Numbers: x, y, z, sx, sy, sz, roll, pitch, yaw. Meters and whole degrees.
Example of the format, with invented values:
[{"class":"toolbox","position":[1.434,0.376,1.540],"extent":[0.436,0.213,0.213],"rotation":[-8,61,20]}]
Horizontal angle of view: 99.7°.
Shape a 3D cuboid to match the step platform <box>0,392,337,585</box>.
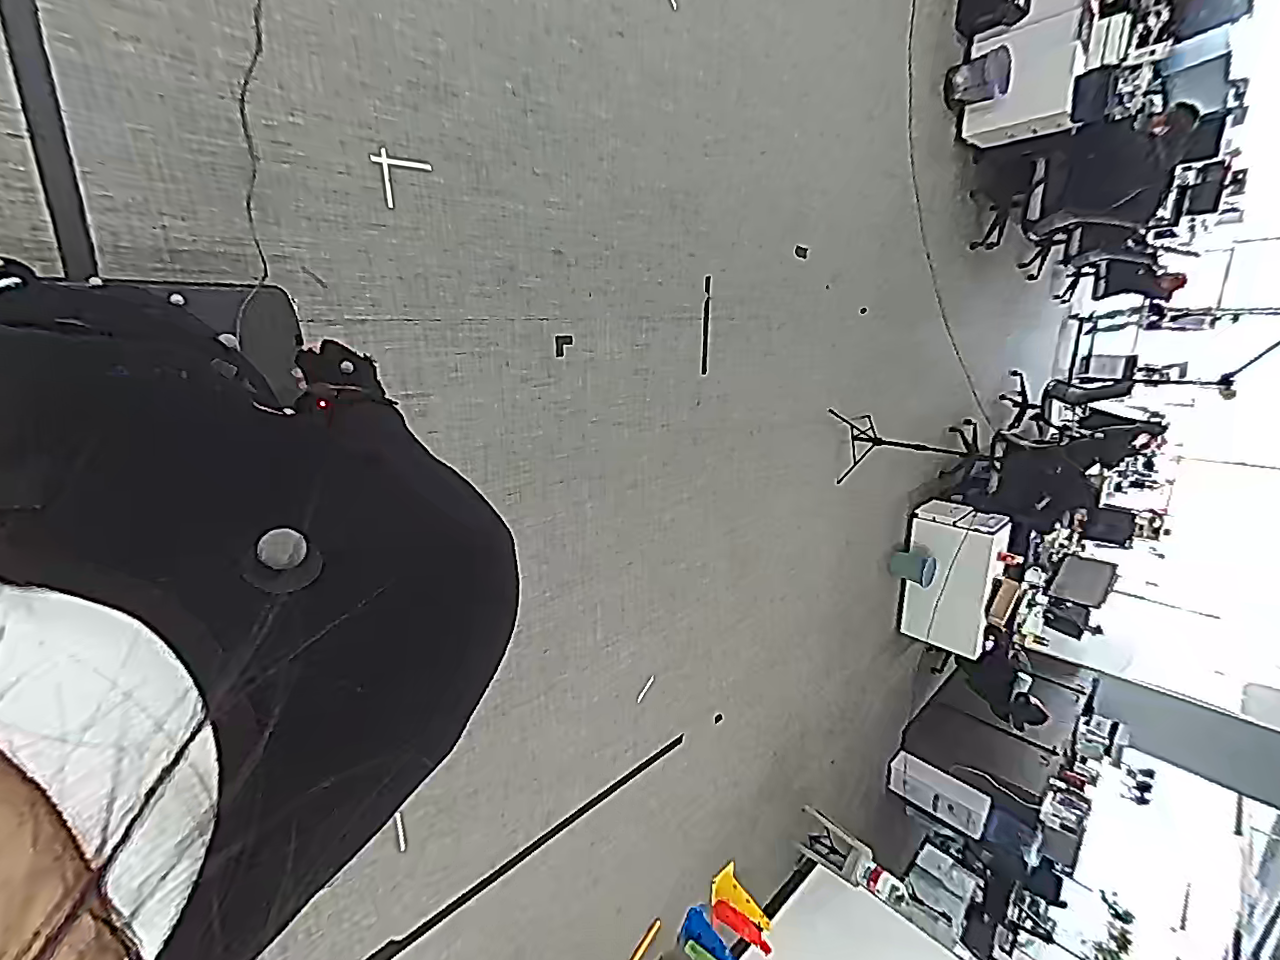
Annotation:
[{"class":"step platform","position":[-1.011,-0.005,1.106],"extent":[0.684,0.204,0.286],"rotation":[-15,110,-39]}]
